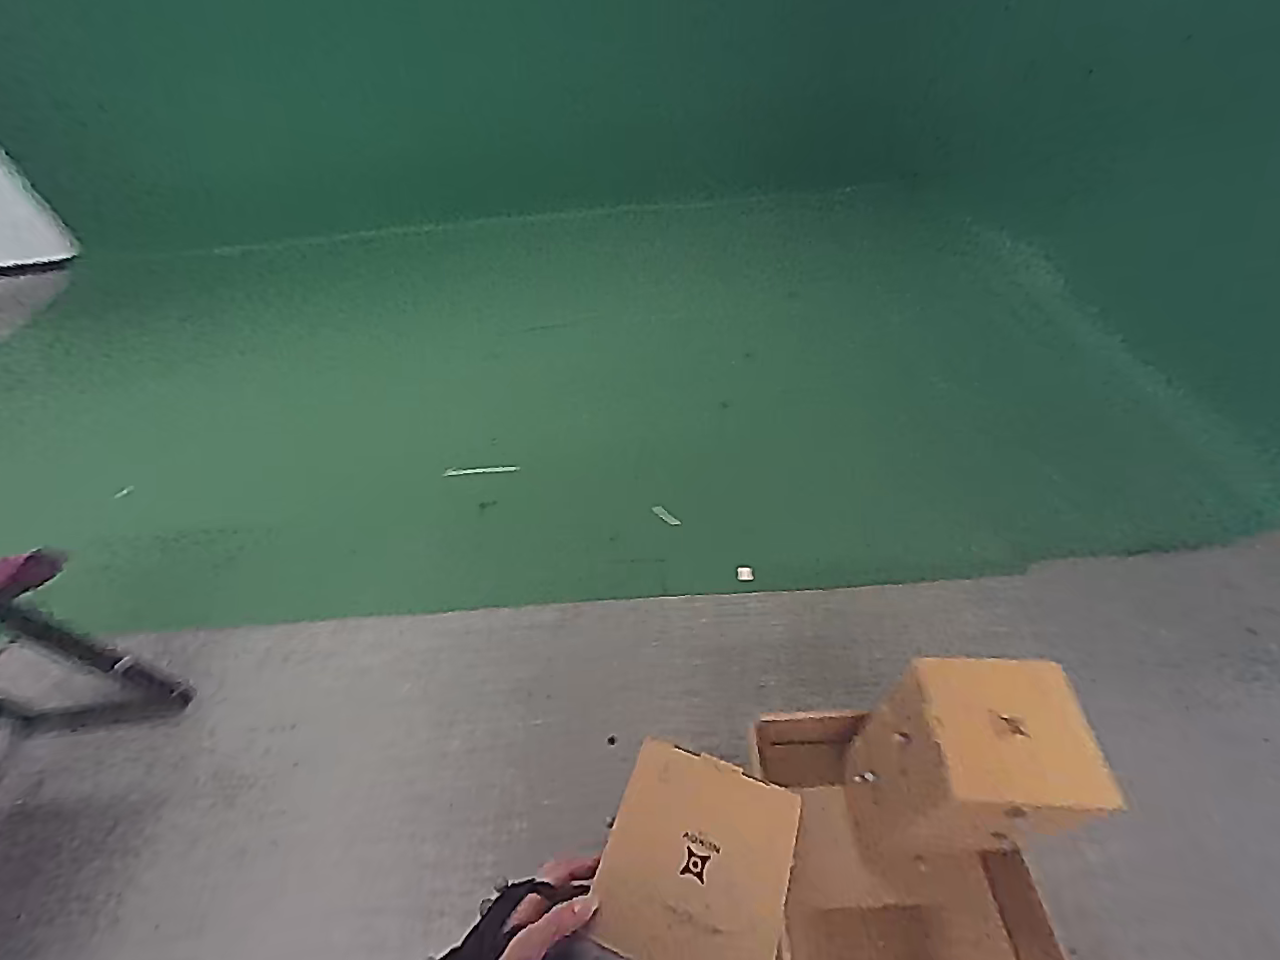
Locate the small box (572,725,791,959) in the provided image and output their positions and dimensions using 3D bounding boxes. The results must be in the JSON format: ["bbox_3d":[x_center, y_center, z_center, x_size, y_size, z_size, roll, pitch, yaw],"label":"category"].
[{"bbox_3d":[0.043,0.392,0.559,0.168,0.176,0.179,16,51,13],"label":"small box"}]

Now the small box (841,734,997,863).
[{"bbox_3d":[0.472,0.559,0.948,0.179,0.176,0.168,-3,47,4],"label":"small box"}]

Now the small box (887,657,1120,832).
[{"bbox_3d":[0.447,0.346,0.704,0.179,0.176,0.168,0,49,7],"label":"small box"}]

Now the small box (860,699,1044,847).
[{"bbox_3d":[0.459,0.450,0.828,0.179,0.176,0.168,-1,48,6],"label":"small box"}]
